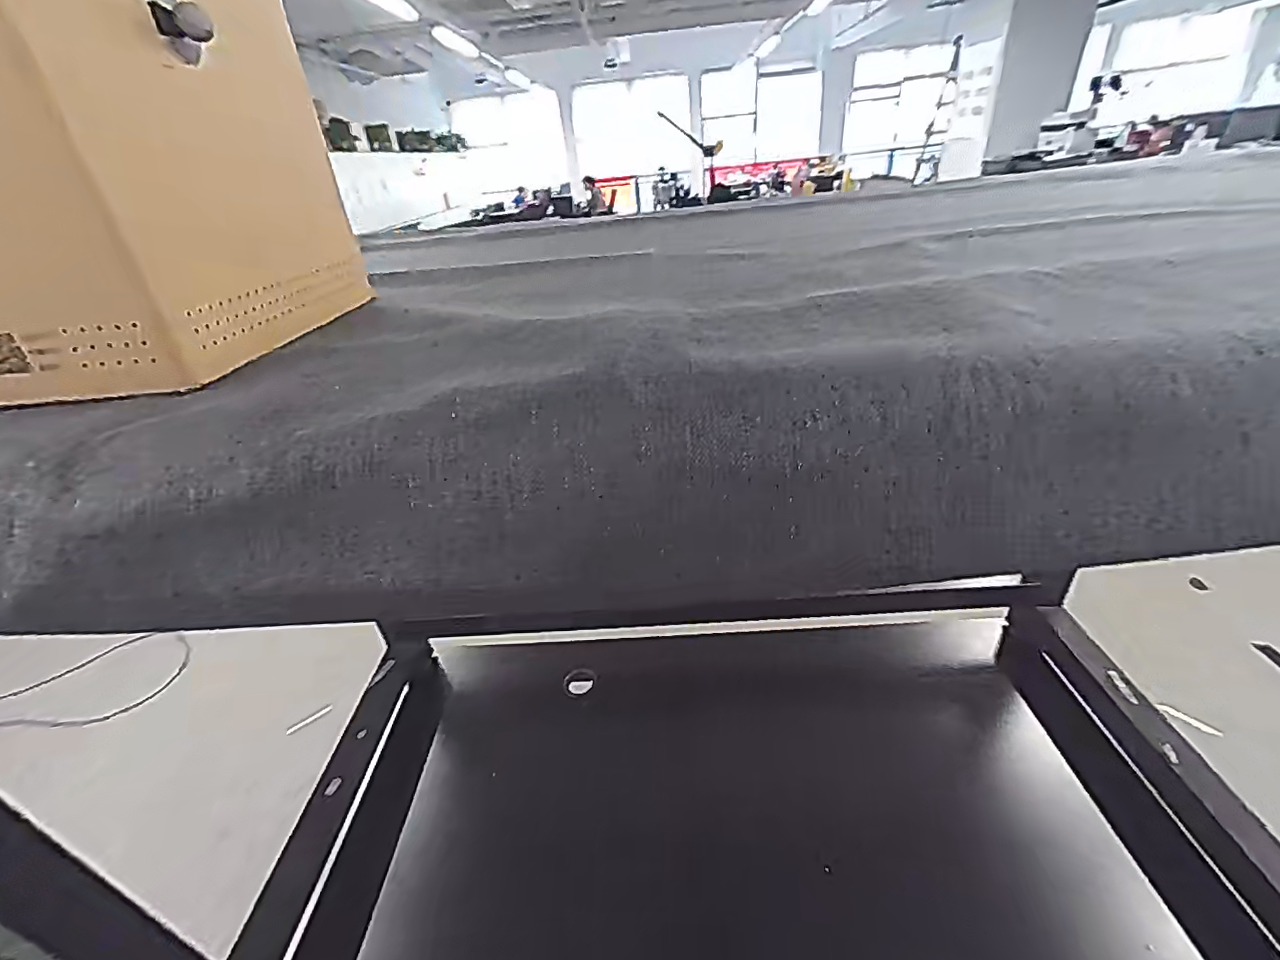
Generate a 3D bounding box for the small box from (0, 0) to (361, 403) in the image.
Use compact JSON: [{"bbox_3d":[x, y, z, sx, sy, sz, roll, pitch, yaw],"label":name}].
[{"bbox_3d":[-0.257,-0.138,0.243,0.168,0.176,0.179,-5,29,0],"label":"small box"}]
